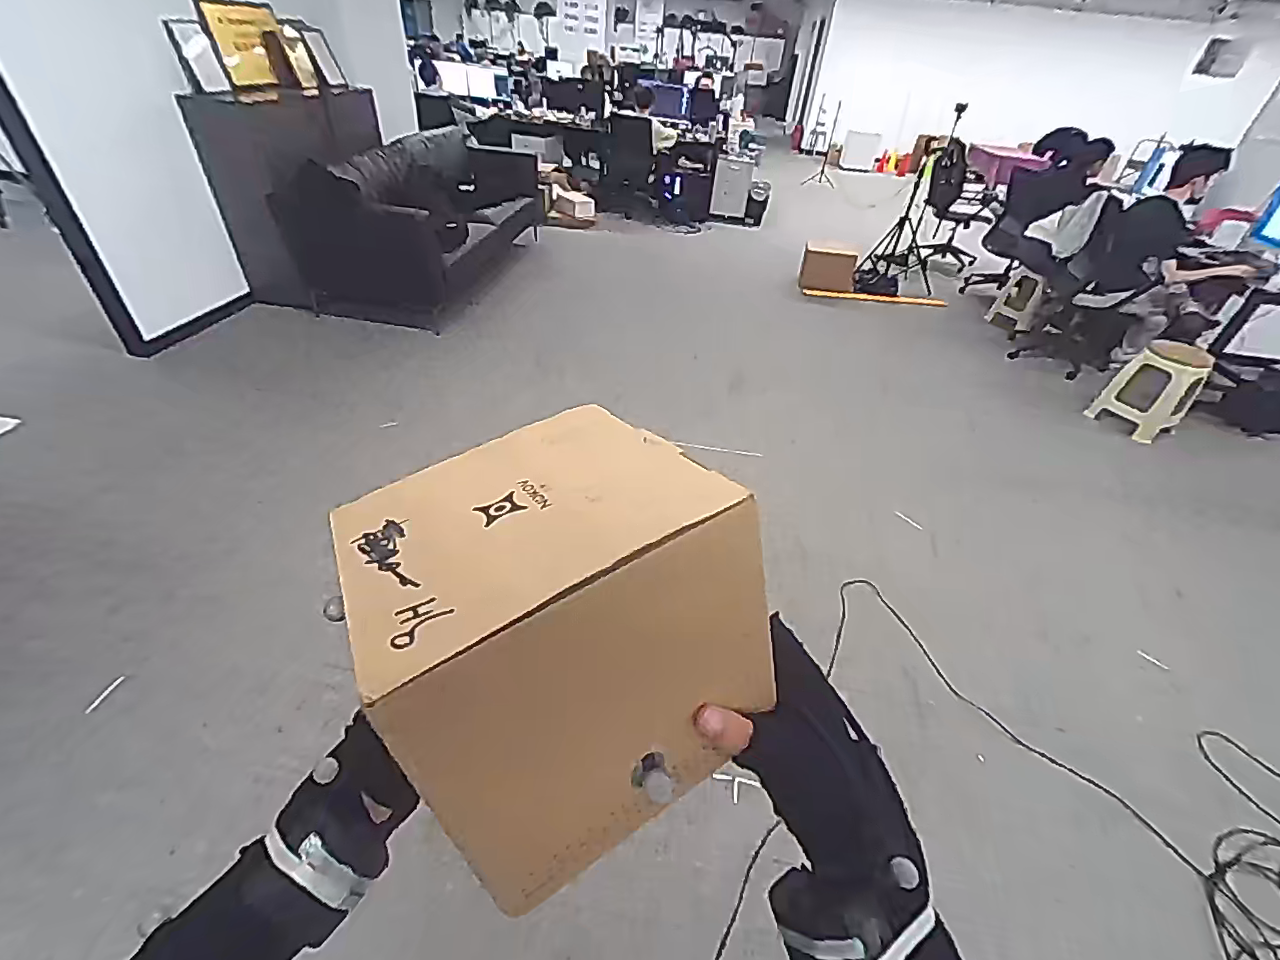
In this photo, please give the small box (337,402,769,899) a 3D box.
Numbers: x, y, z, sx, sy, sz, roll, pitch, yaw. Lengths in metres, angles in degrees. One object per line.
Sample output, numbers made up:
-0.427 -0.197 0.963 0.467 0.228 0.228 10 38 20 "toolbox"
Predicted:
-0.044 0.078 0.312 0.179 0.176 0.168 -25 32 -22 "small box"
